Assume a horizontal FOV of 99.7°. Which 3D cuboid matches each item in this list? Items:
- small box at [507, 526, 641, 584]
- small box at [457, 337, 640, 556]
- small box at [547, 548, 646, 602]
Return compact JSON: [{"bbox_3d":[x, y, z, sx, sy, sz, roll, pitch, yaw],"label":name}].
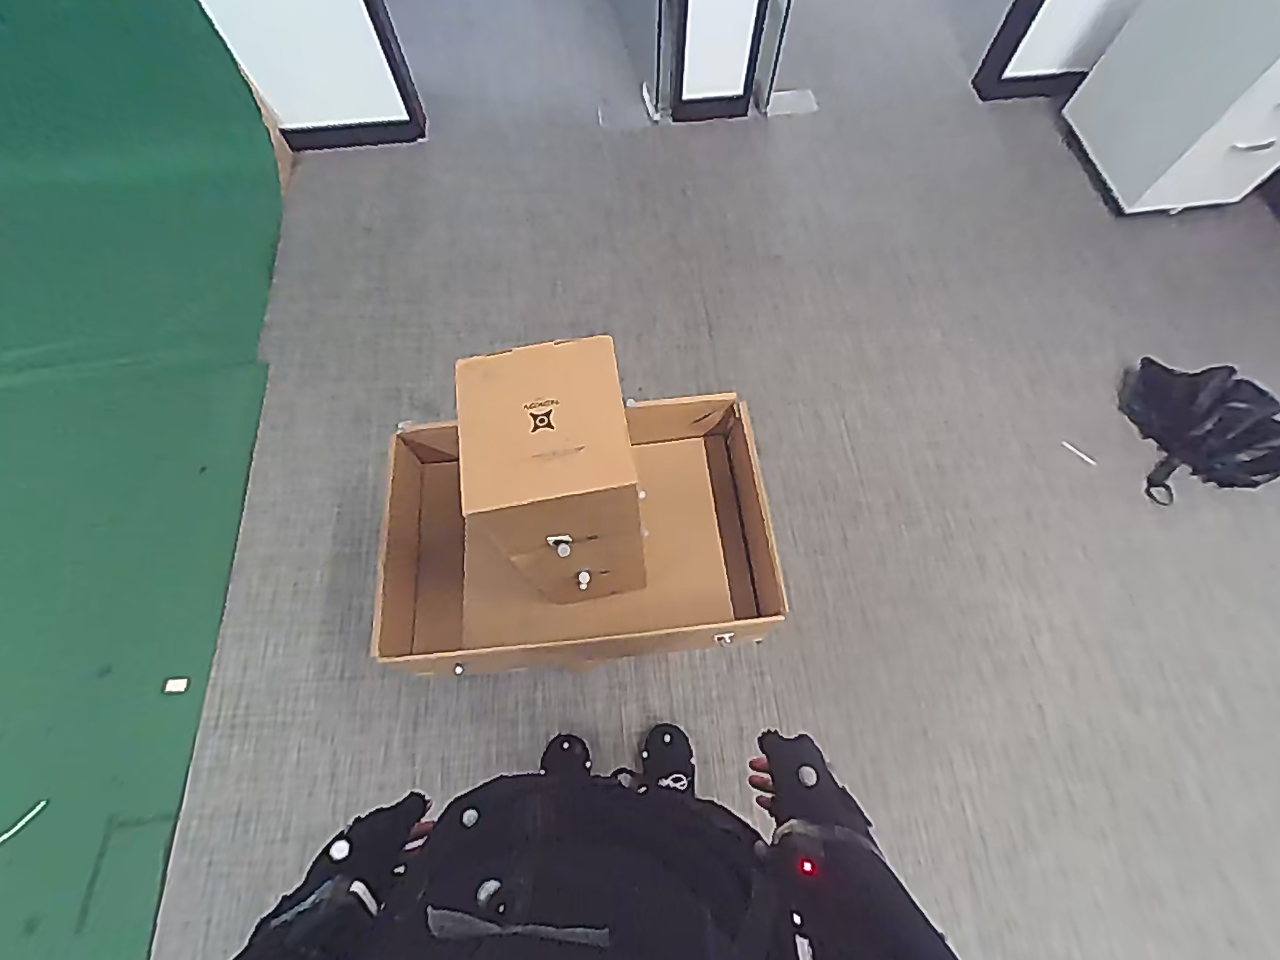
[{"bbox_3d":[-0.093,0.033,0.761,0.168,0.176,0.179,-10,68,-3],"label":"small box"},{"bbox_3d":[-0.096,-0.030,0.612,0.168,0.176,0.179,-11,68,-2],"label":"small box"},{"bbox_3d":[-0.086,0.092,0.913,0.168,0.176,0.179,-11,66,-2],"label":"small box"}]
